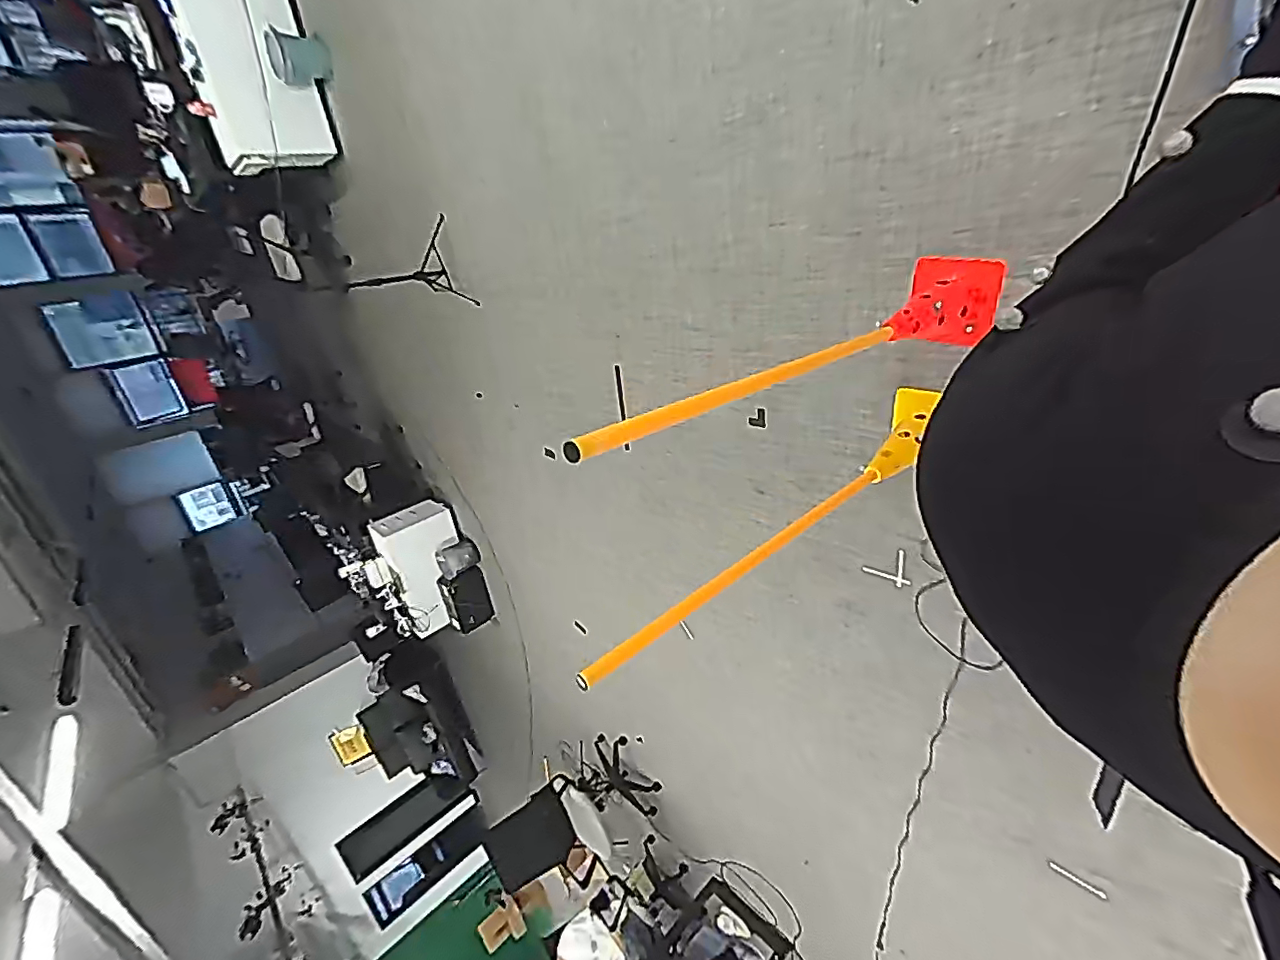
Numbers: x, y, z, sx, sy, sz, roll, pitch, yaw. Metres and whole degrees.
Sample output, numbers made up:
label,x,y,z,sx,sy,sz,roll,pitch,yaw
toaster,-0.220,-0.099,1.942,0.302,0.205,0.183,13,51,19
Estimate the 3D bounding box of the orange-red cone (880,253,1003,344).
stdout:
label,x,y,z,sx,sy,sz,roll,pitch,yaw
orange-red cone,0.628,-0.379,1.205,0.198,0.360,0.199,25,128,38
